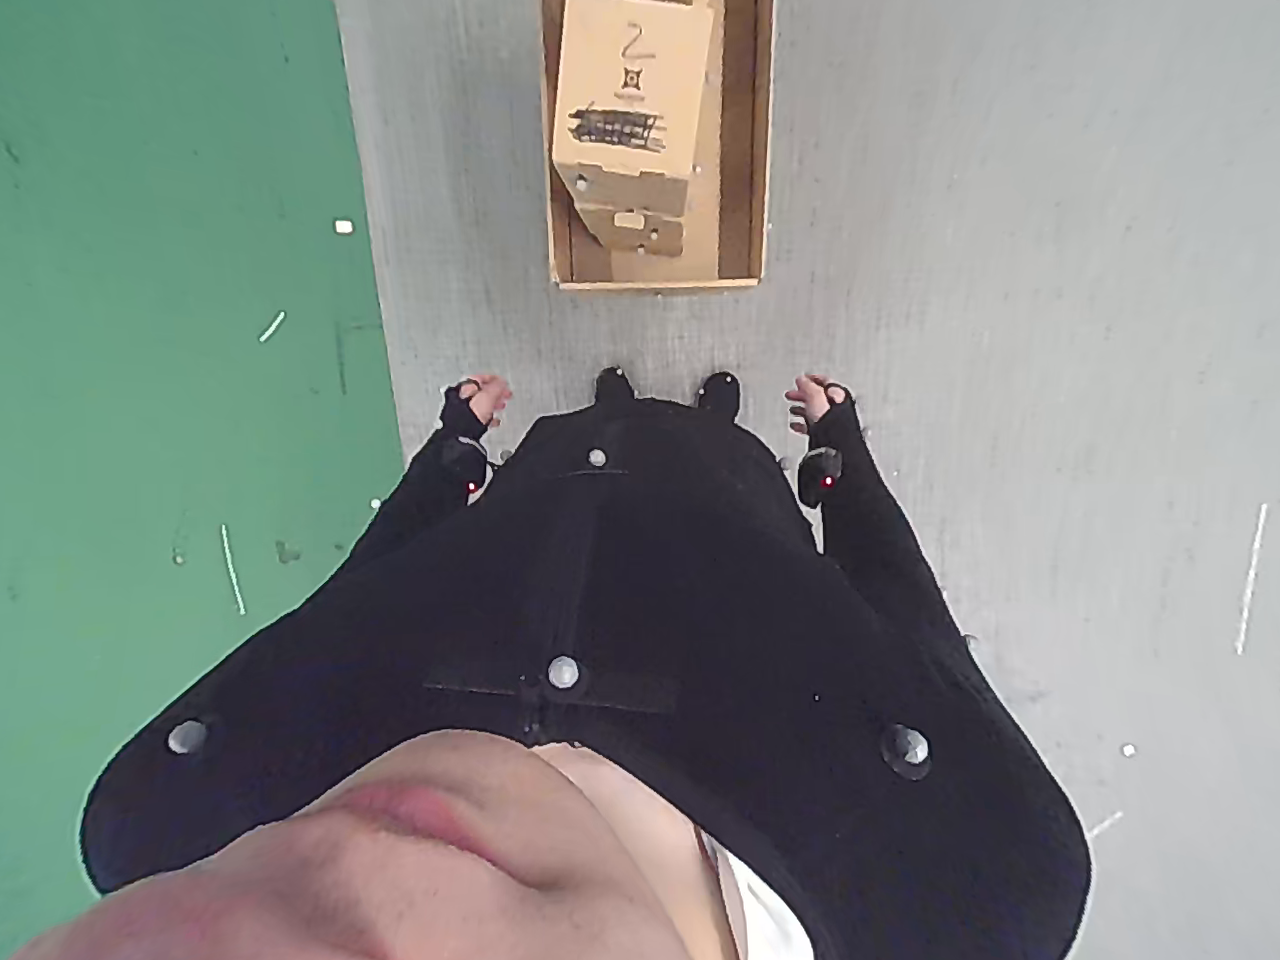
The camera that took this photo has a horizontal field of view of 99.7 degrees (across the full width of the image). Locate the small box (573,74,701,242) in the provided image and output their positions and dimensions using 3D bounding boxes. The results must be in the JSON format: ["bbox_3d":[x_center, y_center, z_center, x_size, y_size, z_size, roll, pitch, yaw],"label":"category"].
[{"bbox_3d":[-0.001,-0.489,0.850,0.168,0.176,0.179,8,102,1],"label":"small box"}]

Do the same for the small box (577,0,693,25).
[{"bbox_3d":[-0.005,-0.695,0.640,0.168,0.176,0.179,9,106,1],"label":"small box"}]

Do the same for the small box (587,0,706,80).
[{"bbox_3d":[0.009,-0.730,0.800,0.168,0.176,0.179,-1,105,3],"label":"small box"}]
